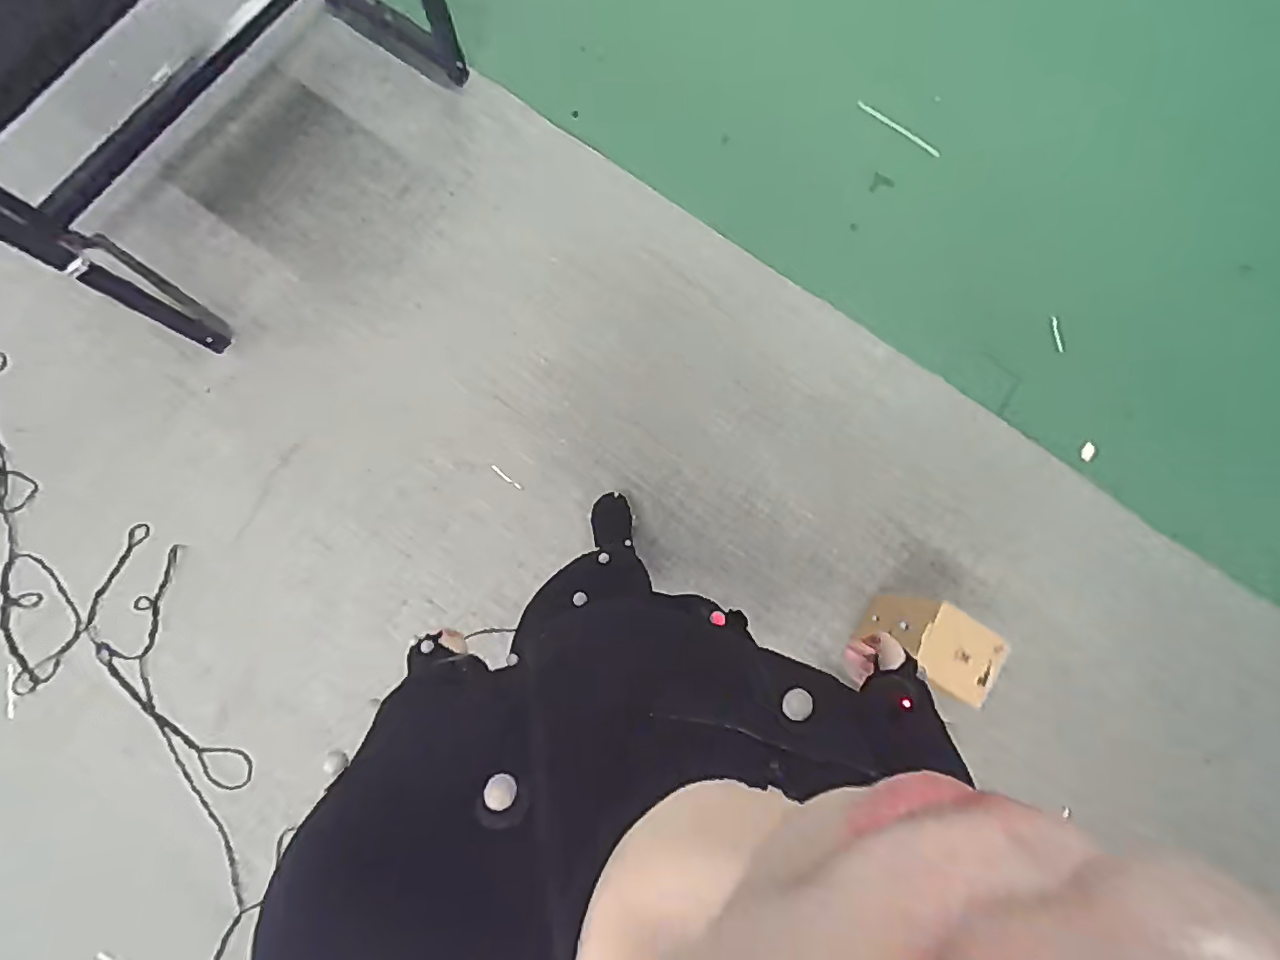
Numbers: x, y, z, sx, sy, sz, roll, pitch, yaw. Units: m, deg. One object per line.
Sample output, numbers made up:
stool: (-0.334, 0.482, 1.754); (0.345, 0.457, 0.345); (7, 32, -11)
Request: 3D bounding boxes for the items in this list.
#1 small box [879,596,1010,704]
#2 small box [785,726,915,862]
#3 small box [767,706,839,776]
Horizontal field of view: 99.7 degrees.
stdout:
small box: (0.696, 0.385, 1.259); (0.179, 0.176, 0.168); (33, 82, 4)
small box: (0.457, 0.684, 1.205); (0.179, 0.176, 0.168); (40, 82, 5)
small box: (0.452, 0.706, 1.368); (0.179, 0.176, 0.168); (42, 82, 6)
